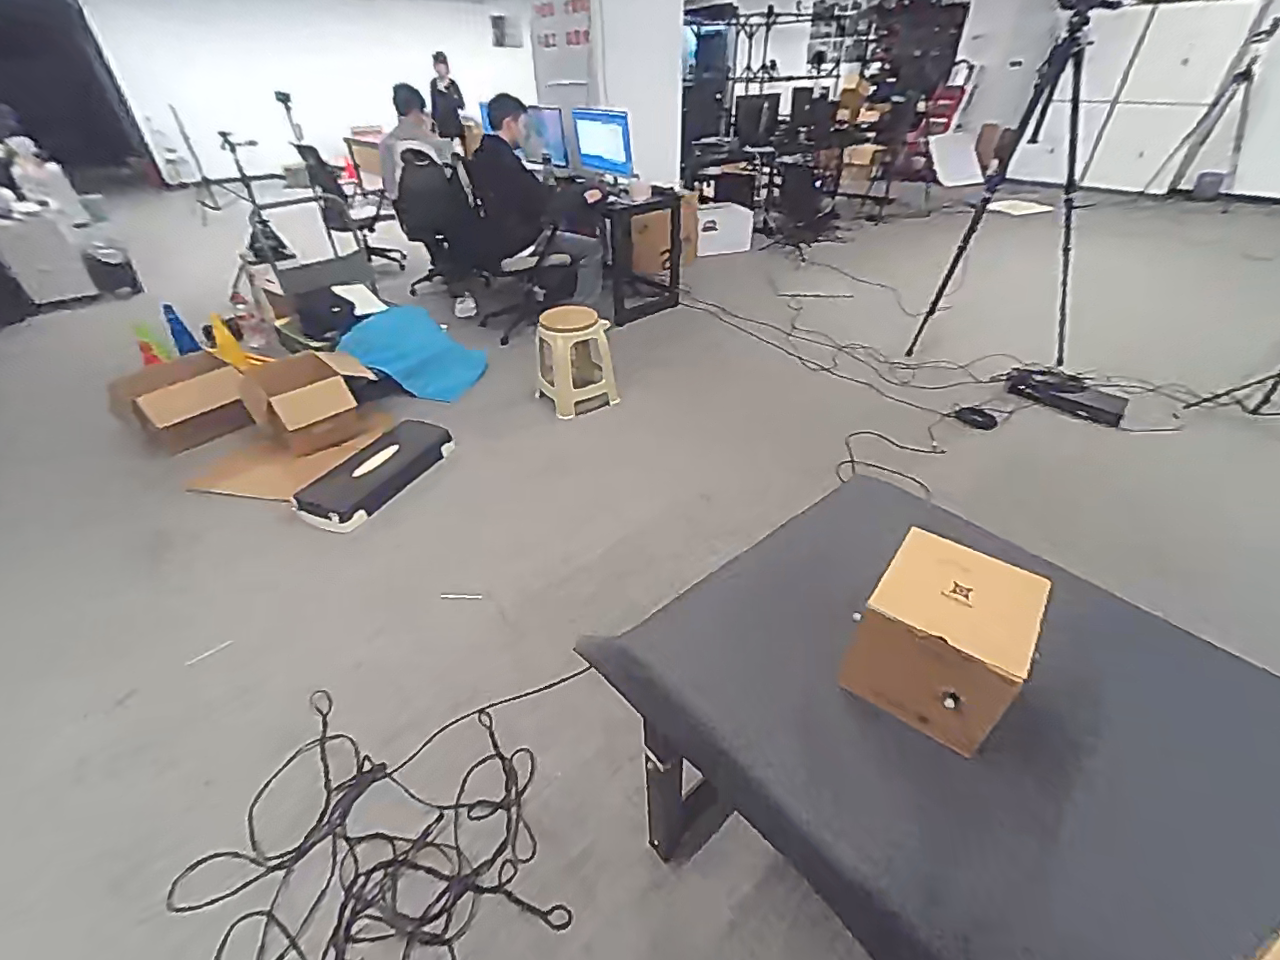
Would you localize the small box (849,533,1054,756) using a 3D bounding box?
[{"bbox_3d":[0.385,0.206,0.689,0.168,0.176,0.179,25,43,30],"label":"small box"}]
